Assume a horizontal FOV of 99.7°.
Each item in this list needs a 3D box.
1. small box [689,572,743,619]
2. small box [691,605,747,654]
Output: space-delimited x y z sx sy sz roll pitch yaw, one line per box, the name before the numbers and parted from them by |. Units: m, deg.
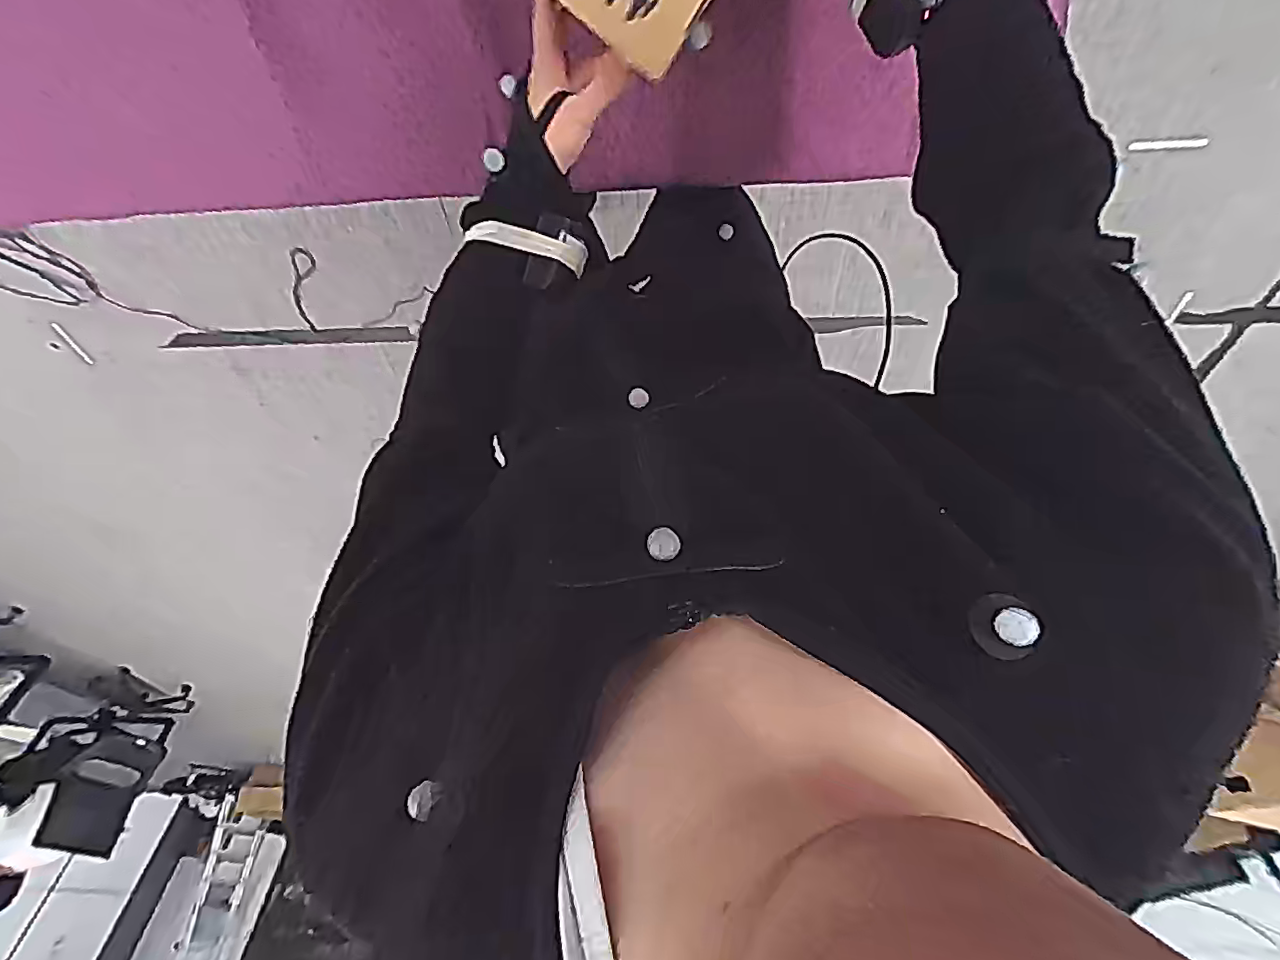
small box | 0.334 0.528 2.379 0.168 0.176 0.179 -33 128 32
small box | 0.330 0.650 2.273 0.179 0.176 0.168 34 128 -30
